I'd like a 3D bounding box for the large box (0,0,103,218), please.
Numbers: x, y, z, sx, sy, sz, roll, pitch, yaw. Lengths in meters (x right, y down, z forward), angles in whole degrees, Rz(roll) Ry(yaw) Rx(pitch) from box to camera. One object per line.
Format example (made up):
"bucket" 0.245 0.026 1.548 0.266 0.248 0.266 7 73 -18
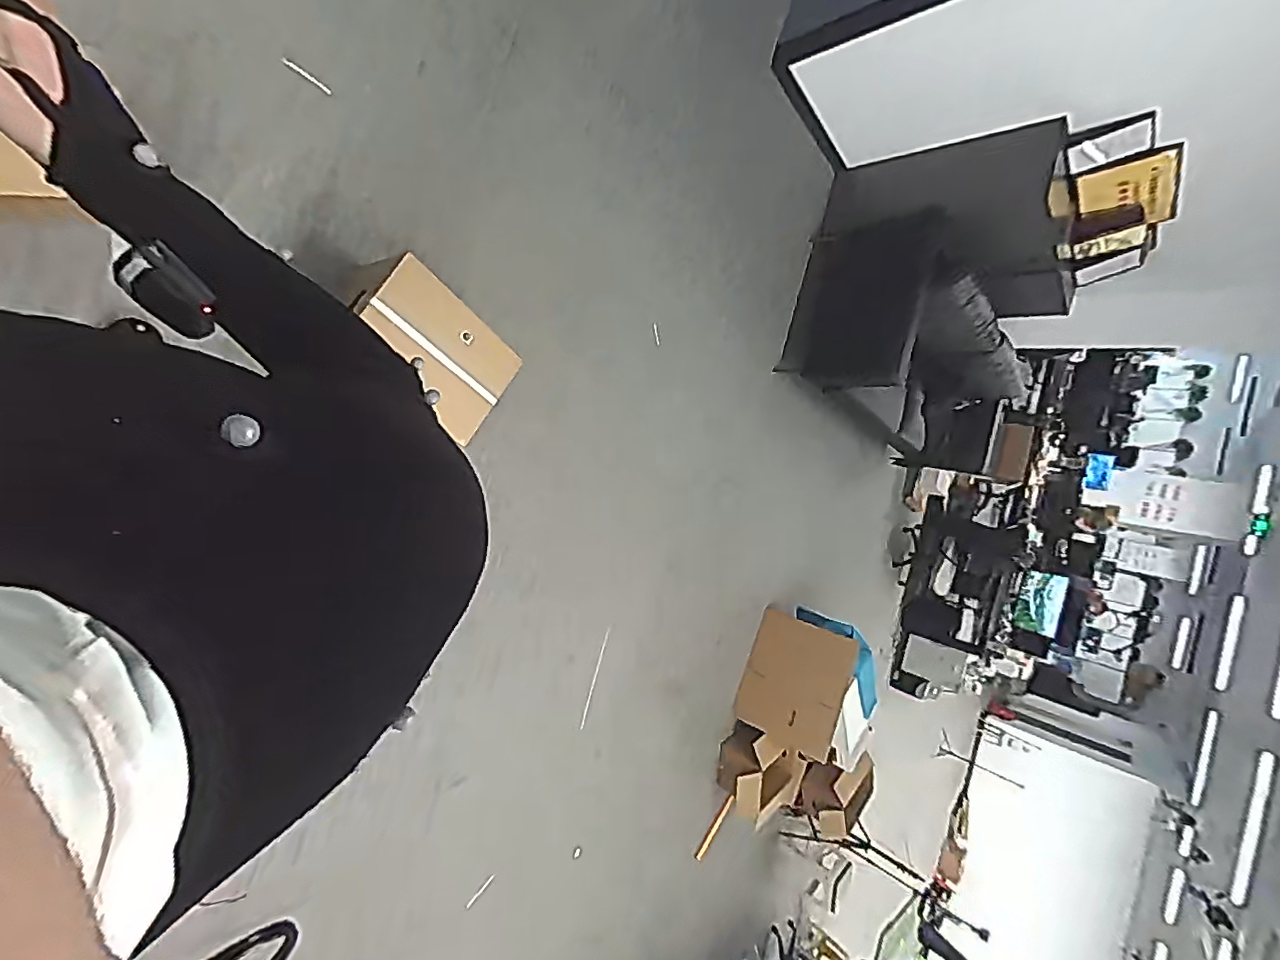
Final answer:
"large box" -1.182 -0.597 0.851 0.408 0.320 0.320 -25 116 -40
